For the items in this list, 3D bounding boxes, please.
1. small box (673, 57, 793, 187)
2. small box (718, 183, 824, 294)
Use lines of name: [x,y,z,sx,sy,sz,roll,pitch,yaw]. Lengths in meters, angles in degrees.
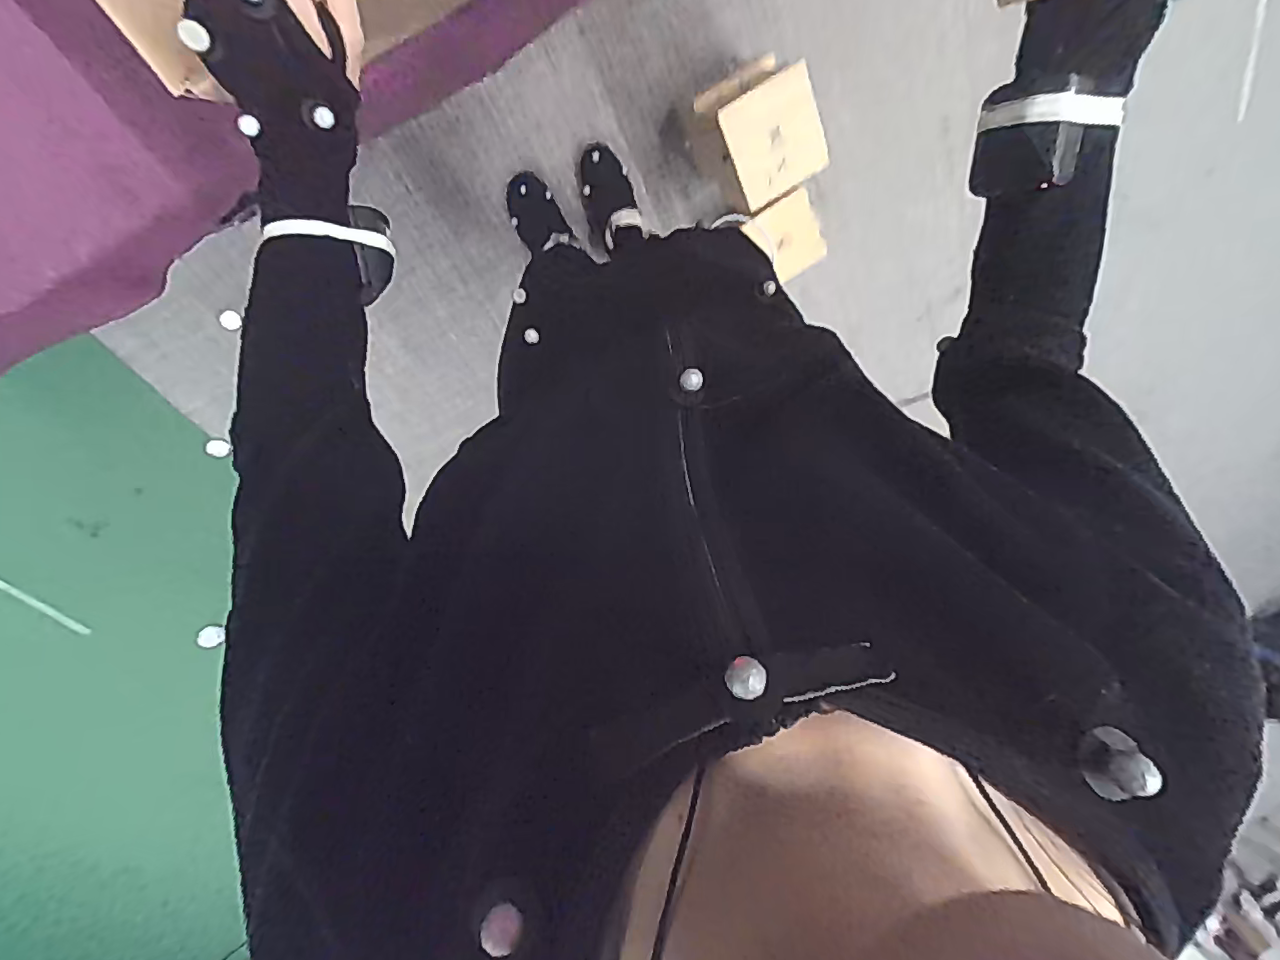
small box: [0.192,-0.756,1.146,0.179,0.176,0.168,-27,124,7]
small box: [0.302,-0.577,1.287,0.179,0.176,0.168,-32,123,8]
